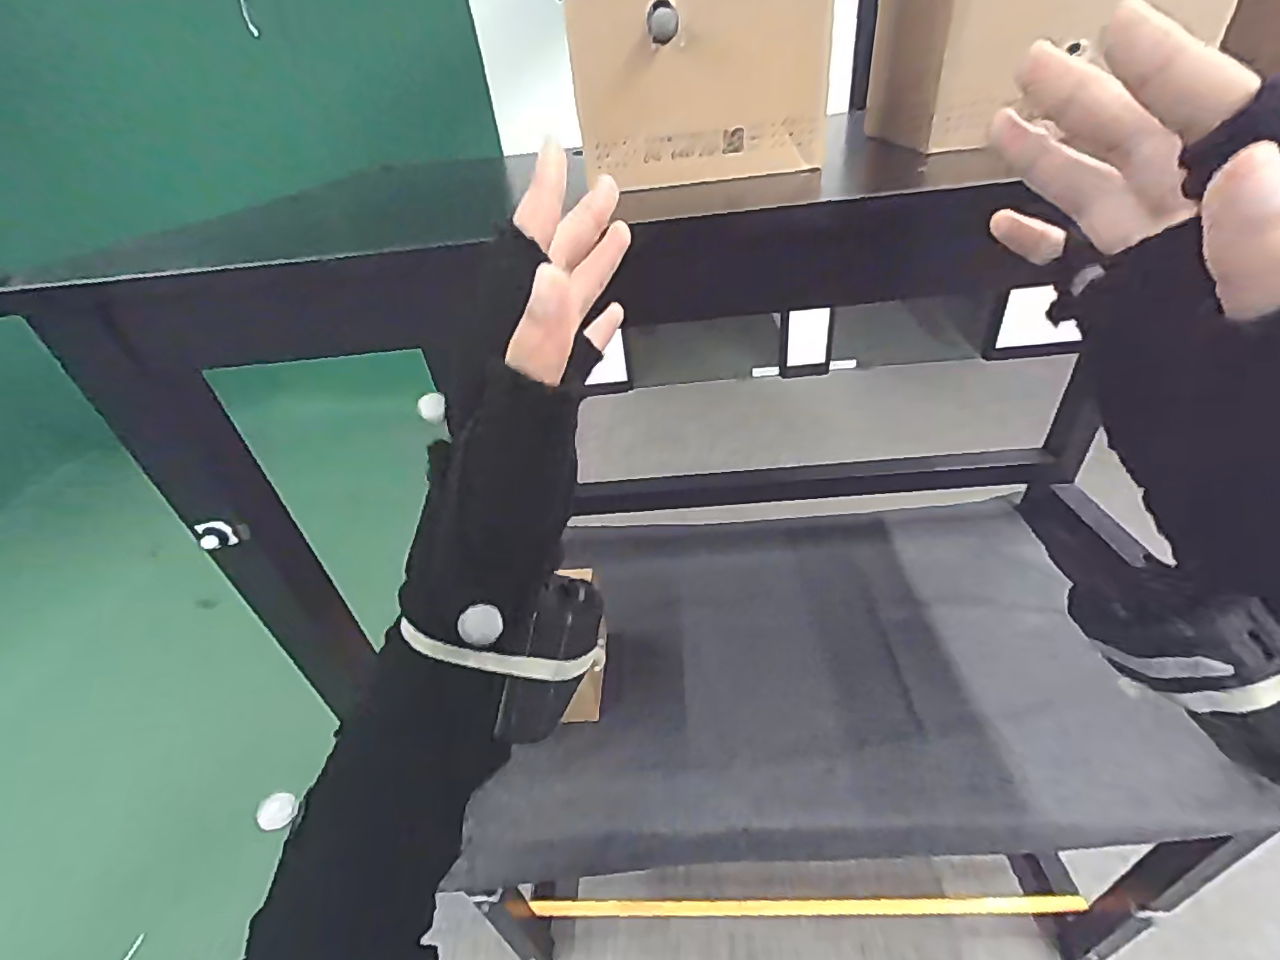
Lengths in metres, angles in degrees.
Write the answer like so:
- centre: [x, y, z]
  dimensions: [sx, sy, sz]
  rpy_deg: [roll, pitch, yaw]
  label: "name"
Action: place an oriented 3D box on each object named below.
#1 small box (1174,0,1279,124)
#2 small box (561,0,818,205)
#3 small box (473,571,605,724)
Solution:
- centre: [0.521, -0.341, 0.352]
  dimensions: [0.168, 0.176, 0.179]
  rpy_deg: [3, 36, 14]
  label: "small box"
- centre: [0.039, -0.321, 0.420]
  dimensions: [0.168, 0.176, 0.179]
  rpy_deg: [-4, 35, 5]
  label: "small box"
- centre: [-0.151, 0.272, 0.883]
  dimensions: [0.168, 0.176, 0.179]
  rpy_deg: [-4, 35, 4]
  label: "small box"
